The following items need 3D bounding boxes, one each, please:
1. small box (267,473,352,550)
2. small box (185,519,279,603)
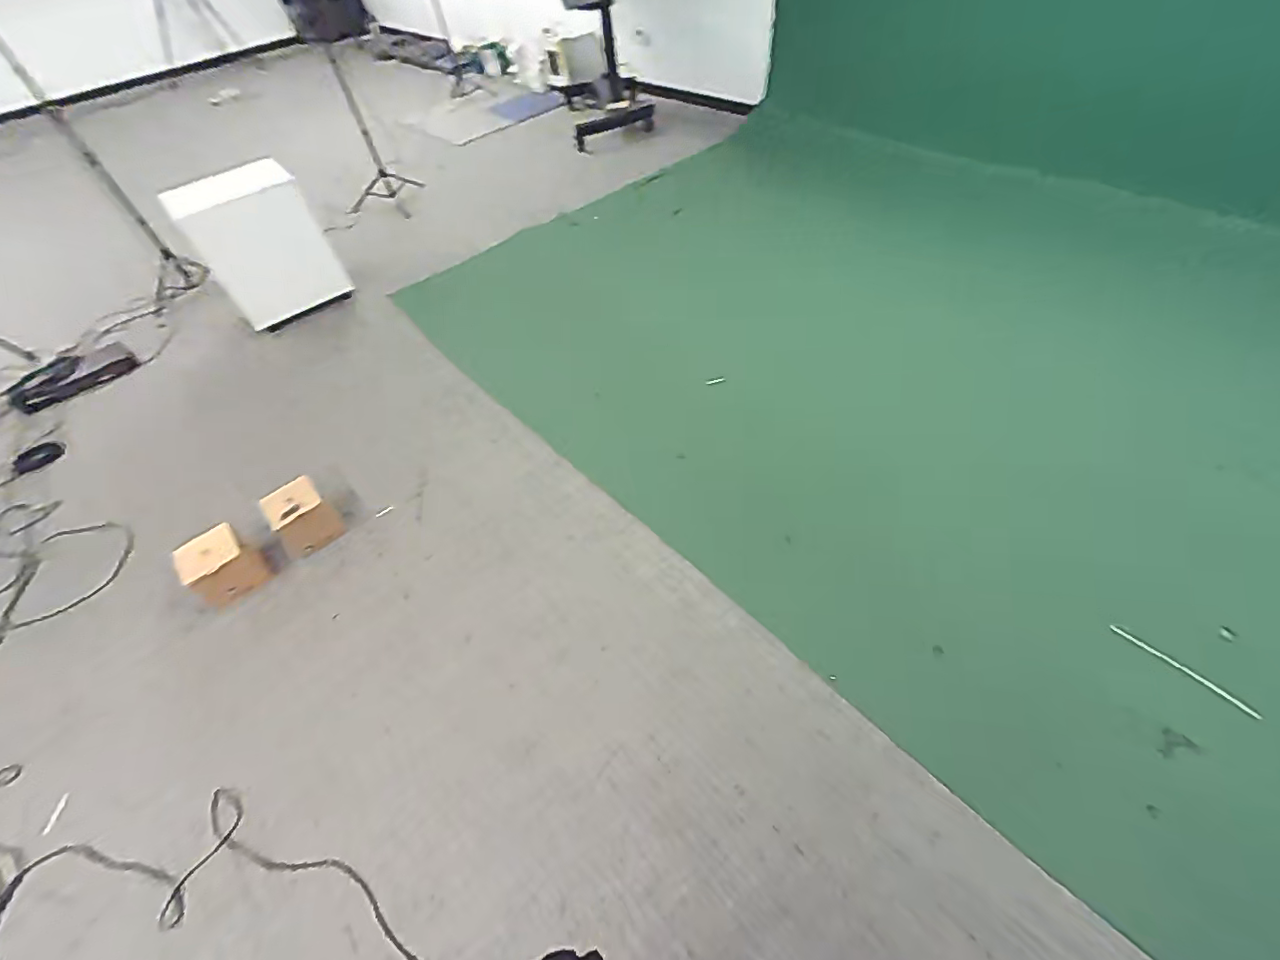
[{"bbox_3d":[-1.134,0.116,1.868,0.168,0.176,0.179,-37,55,-22],"label":"small box"},{"bbox_3d":[-1.329,0.268,1.769,0.168,0.176,0.179,-37,55,-21],"label":"small box"}]
